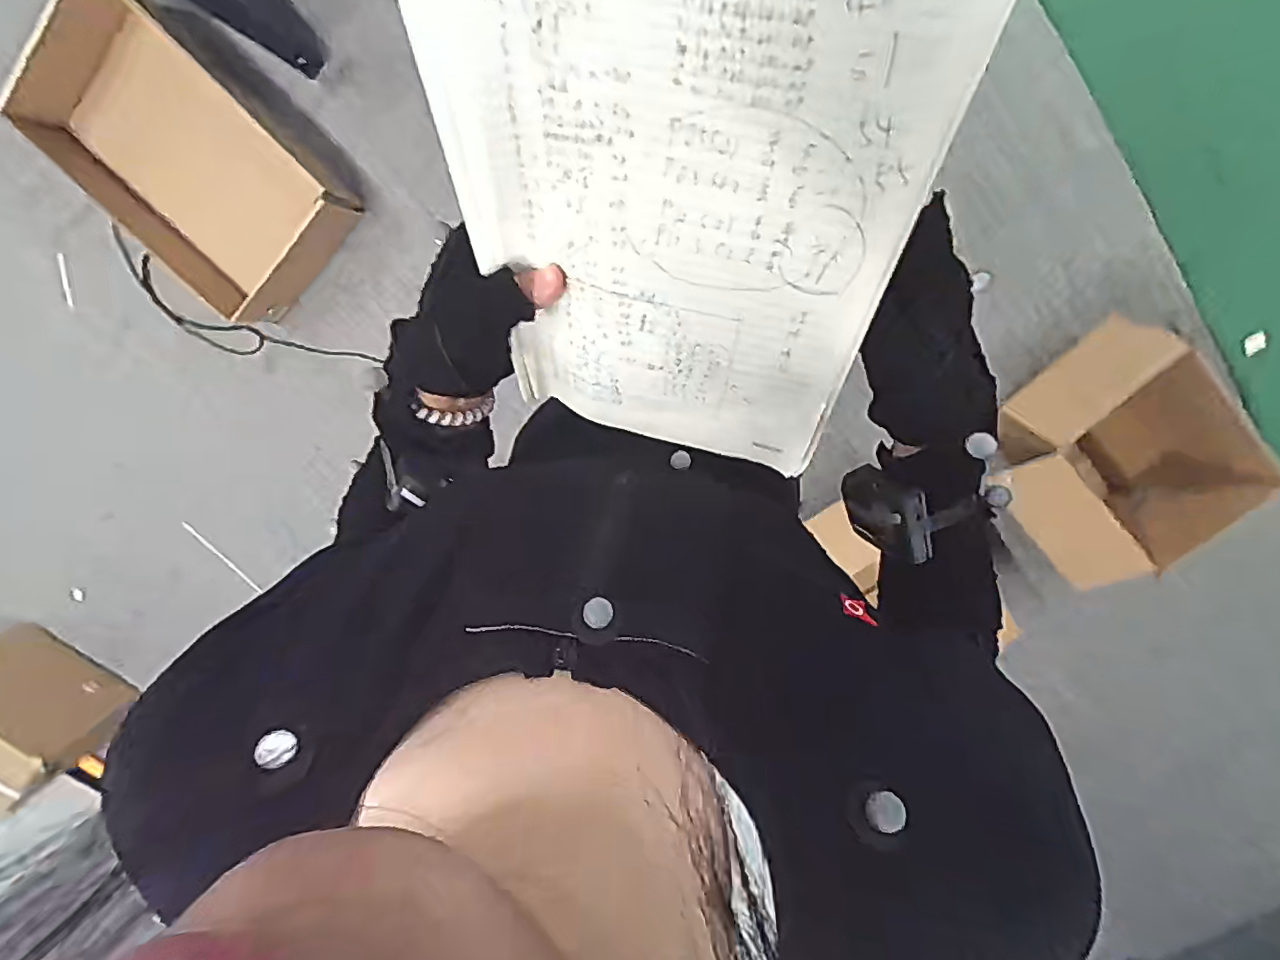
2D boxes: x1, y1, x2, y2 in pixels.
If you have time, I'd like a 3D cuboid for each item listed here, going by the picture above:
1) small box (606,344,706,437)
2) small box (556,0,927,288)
[{"bbox_3d":[0.036,-0.232,1.379,0.179,0.176,0.168,48,115,7],"label":"small box"},{"bbox_3d":[0.049,-0.233,0.323,0.168,0.176,0.179,4,130,4],"label":"small box"}]
